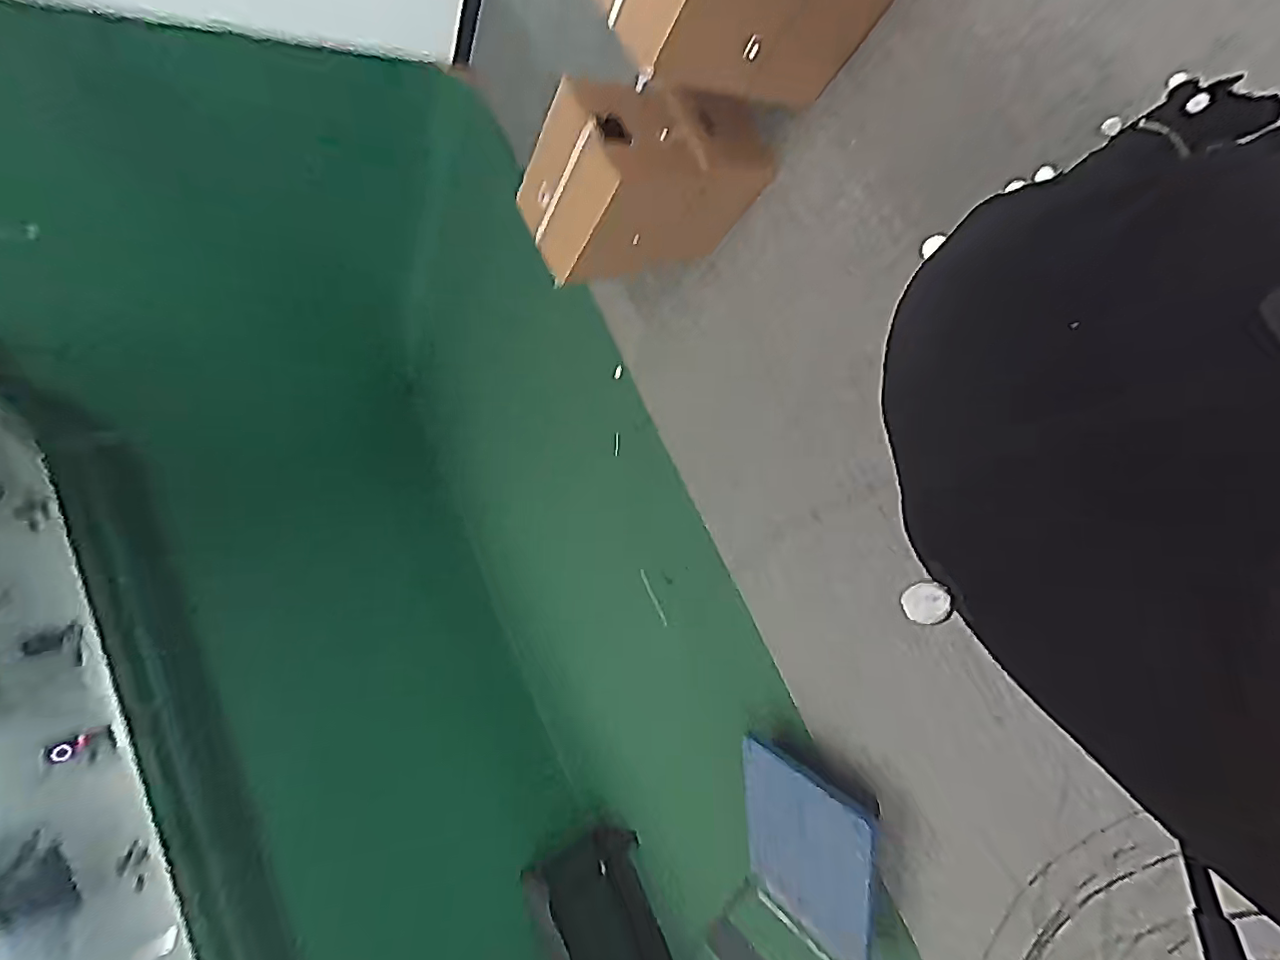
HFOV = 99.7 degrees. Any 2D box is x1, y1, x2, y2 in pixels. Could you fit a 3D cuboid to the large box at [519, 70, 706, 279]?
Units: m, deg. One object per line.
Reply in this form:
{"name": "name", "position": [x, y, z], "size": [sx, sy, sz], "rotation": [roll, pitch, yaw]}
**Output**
{"name": "large box", "position": [-0.088, -0.839, 1.518], "size": [0.408, 0.320, 0.320], "rotation": [-34, 81, 57]}
